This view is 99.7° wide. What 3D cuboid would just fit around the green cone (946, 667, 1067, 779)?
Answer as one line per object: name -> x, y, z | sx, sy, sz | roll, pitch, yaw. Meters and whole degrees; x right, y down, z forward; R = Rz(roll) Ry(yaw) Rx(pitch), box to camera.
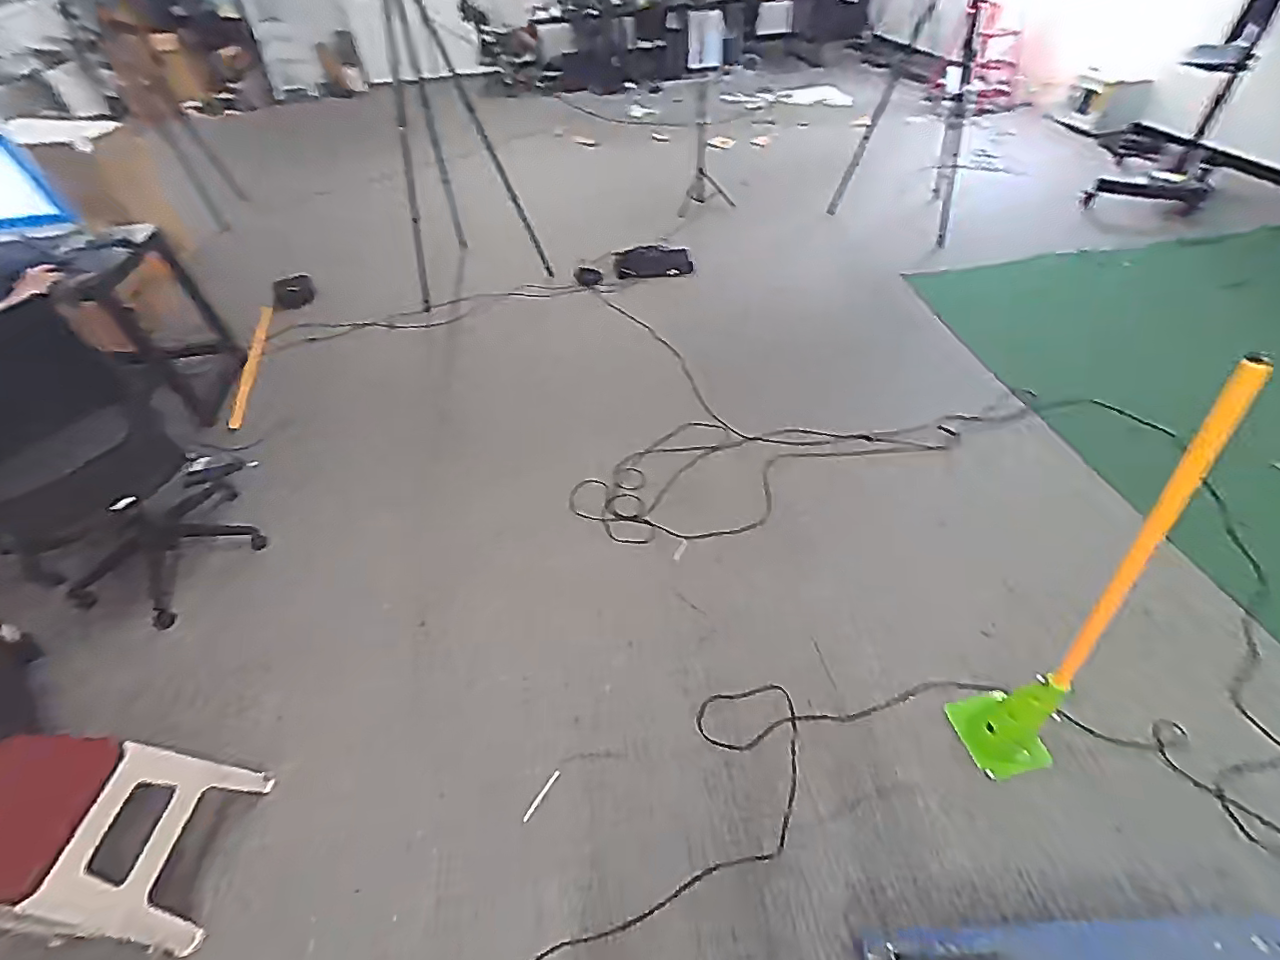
green cone -> 0.963, 0.570, 1.348 | 0.200, 0.368, 0.202 | -12, 46, -7
